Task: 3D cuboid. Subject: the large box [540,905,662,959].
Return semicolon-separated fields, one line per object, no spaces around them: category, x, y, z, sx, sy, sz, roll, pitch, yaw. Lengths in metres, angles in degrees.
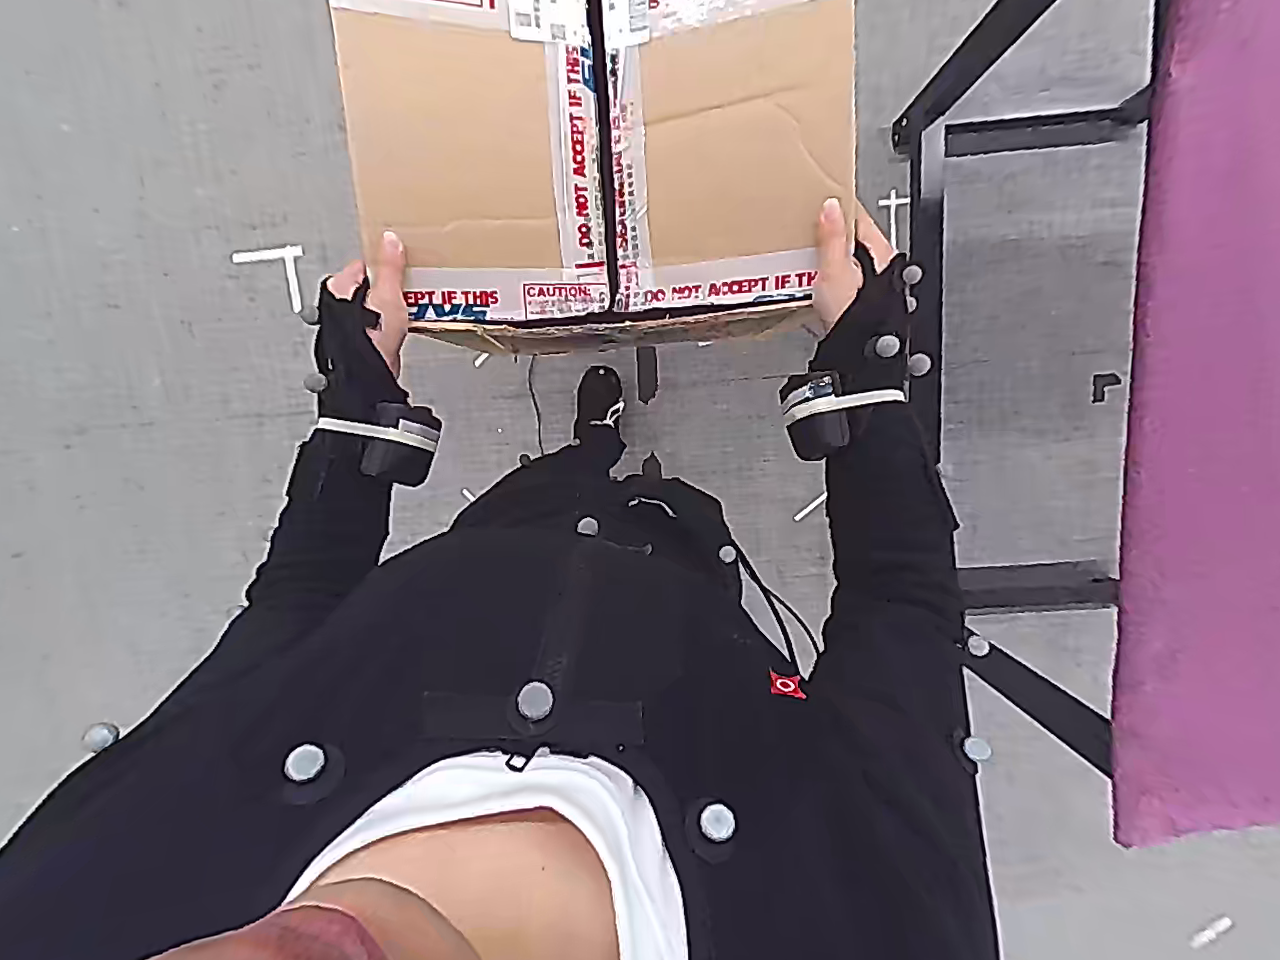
large box;-0.090;1.408;1.383;0.320;0.320;0.408;-5;96;1
